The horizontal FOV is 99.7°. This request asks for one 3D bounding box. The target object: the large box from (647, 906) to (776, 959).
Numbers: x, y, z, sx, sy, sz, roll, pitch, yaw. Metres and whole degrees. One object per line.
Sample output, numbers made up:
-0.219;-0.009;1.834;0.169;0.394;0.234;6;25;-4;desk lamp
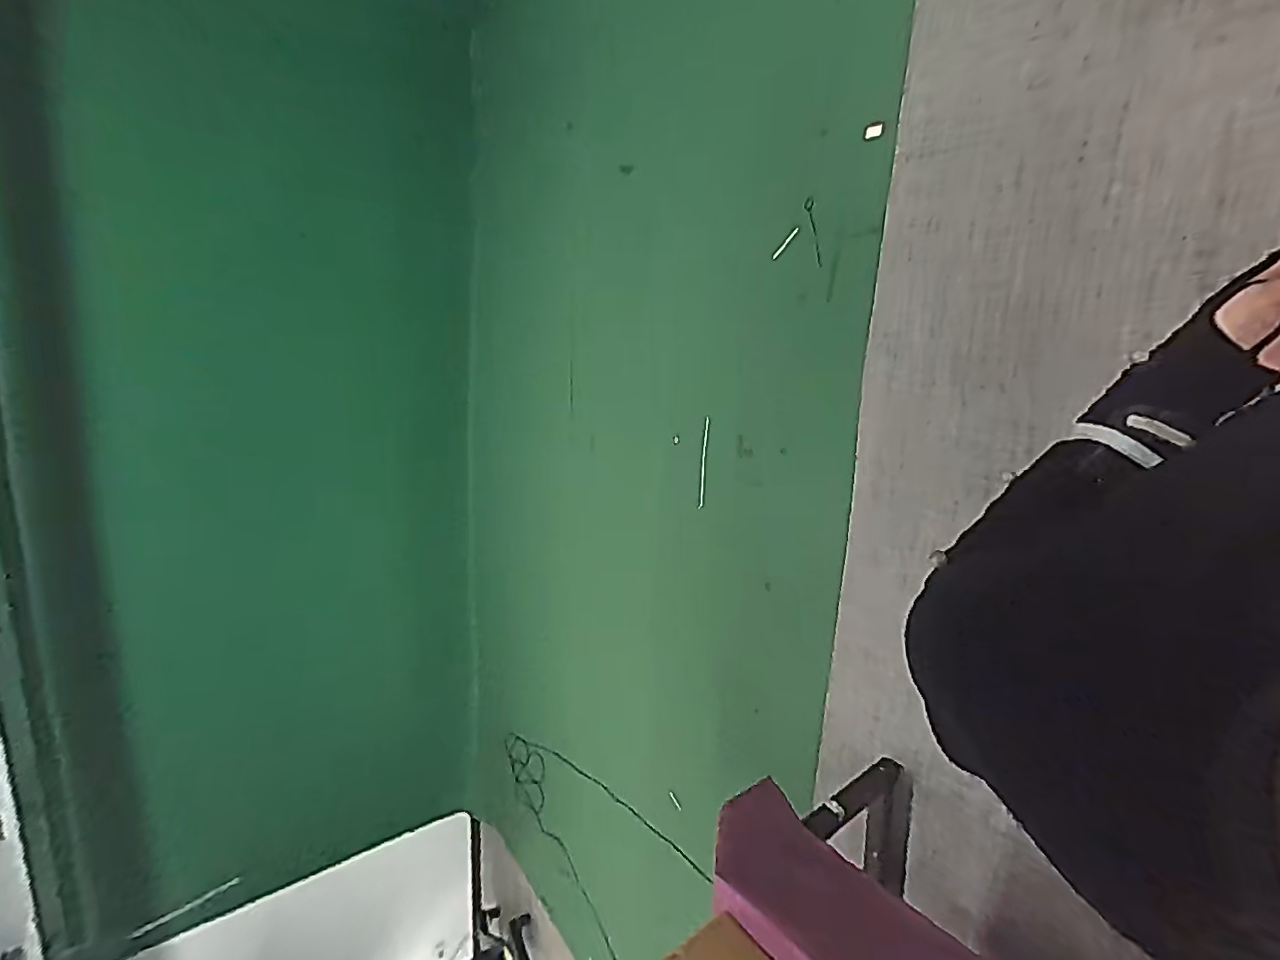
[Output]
0.144;1.167;1.026;0.320;0.320;0.408;15;105;49;large box
